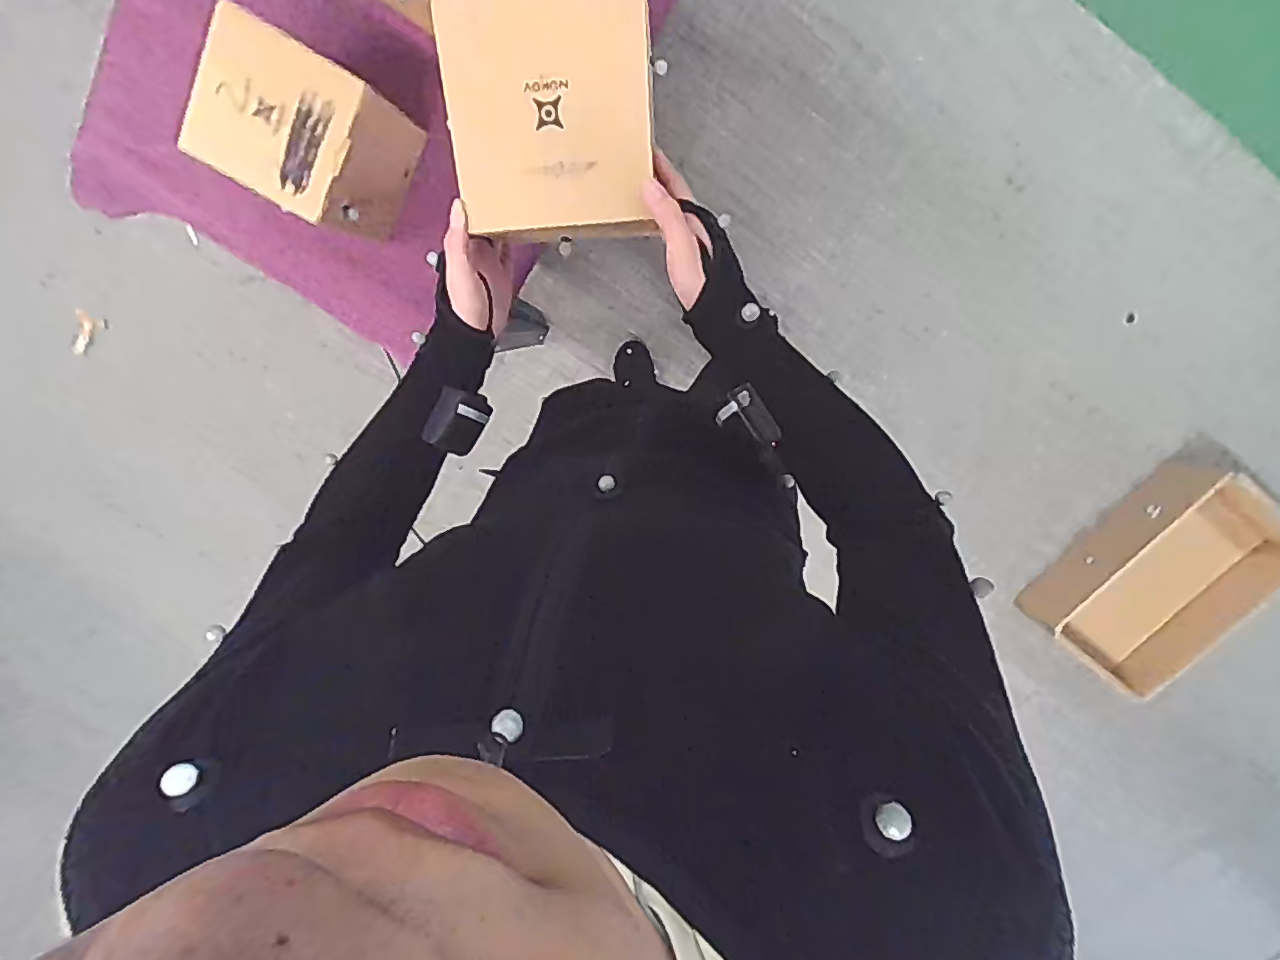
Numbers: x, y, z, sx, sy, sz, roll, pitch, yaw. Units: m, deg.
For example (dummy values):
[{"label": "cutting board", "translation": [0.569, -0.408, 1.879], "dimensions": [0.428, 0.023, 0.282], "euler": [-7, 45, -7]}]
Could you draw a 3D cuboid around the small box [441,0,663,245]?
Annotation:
[{"label": "small box", "translation": [-0.063, -0.322, 0.500], "dimensions": [0.168, 0.176, 0.179], "euler": [-2, 110, 3]}]

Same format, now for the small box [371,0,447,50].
[{"label": "small box", "translation": [-0.262, -0.644, 0.618], "dimensions": [0.179, 0.176, 0.168], "euler": [29, 104, -8]}]
